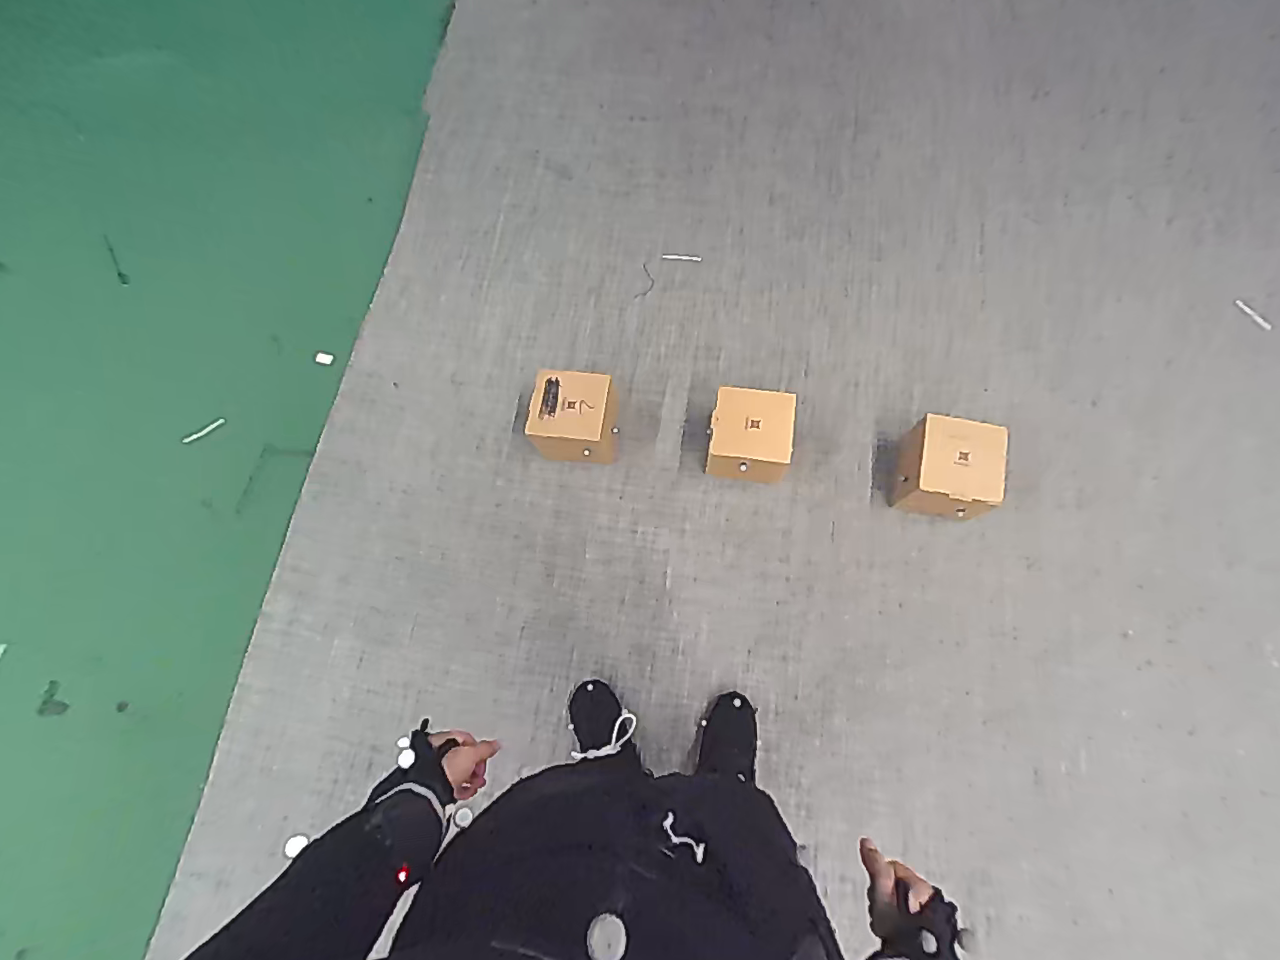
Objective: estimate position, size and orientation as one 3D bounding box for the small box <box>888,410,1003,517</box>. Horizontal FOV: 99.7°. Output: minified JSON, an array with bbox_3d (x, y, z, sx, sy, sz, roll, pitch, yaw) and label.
[{"bbox_3d":[0.667,-0.029,1.198,0.168,0.176,0.179,12,74,6],"label":"small box"}]

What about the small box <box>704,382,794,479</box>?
[{"bbox_3d":[0.248,-0.108,1.255,0.179,0.176,0.168,7,74,7],"label":"small box"}]
